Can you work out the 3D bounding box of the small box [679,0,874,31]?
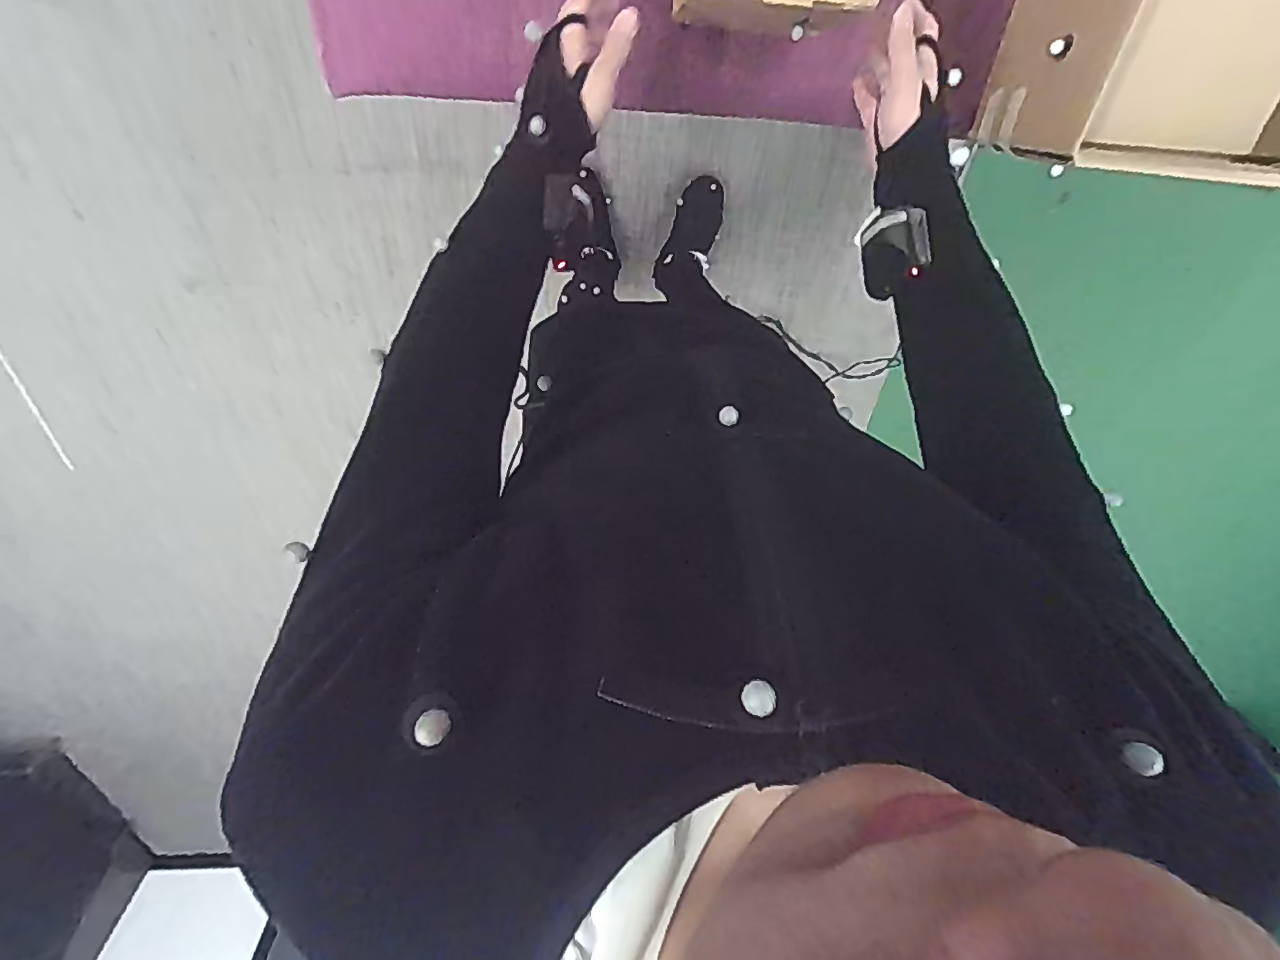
[{"bbox_3d":[0.127,-0.530,0.484,0.168,0.176,0.179,2,122,-6],"label":"small box"}]
